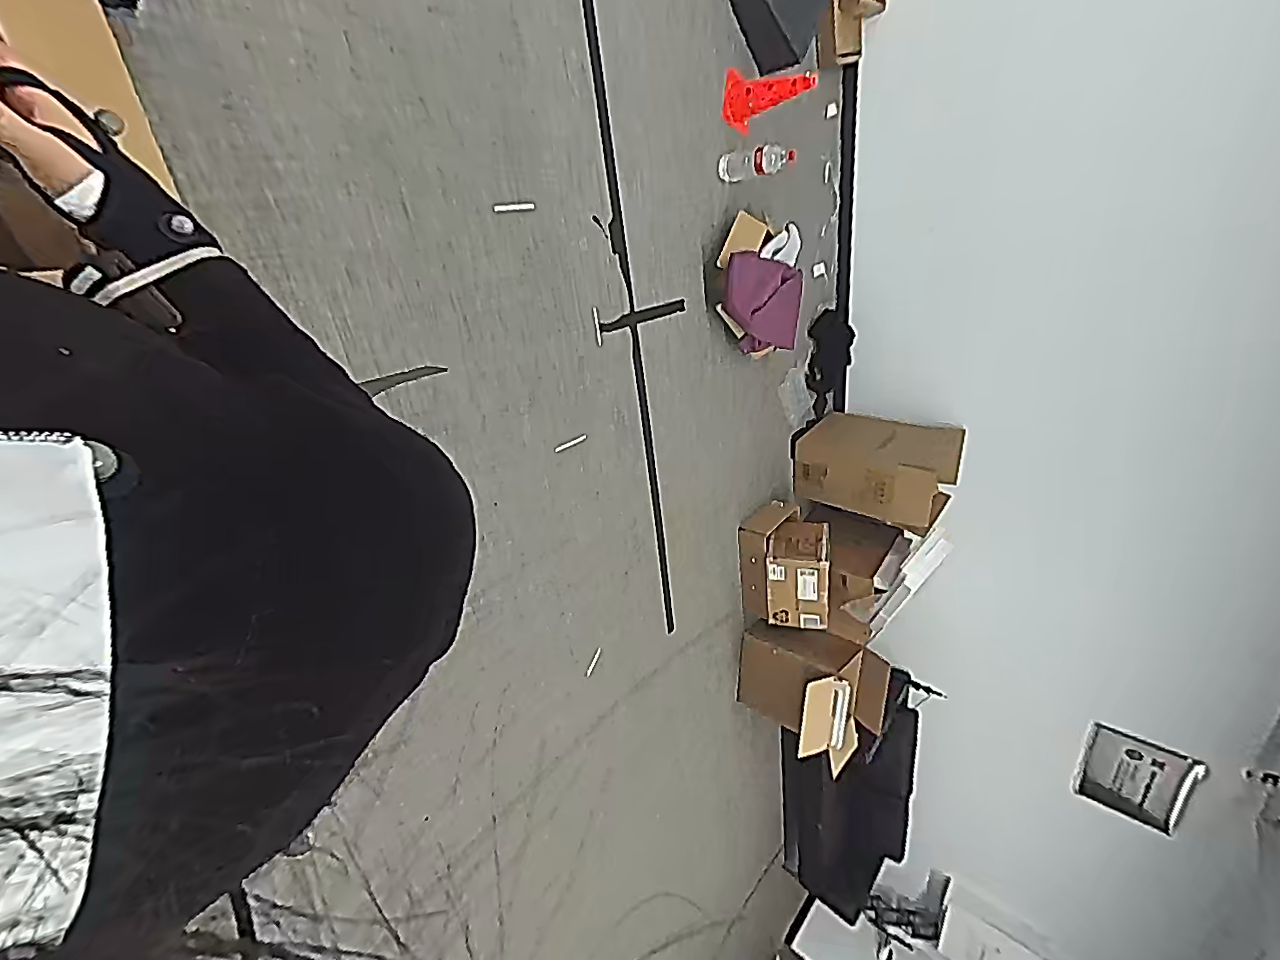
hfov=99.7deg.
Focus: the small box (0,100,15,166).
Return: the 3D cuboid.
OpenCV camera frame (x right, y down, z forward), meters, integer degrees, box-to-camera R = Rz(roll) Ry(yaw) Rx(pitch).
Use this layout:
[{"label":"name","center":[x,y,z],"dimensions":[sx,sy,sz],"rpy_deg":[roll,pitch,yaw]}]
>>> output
[{"label":"small box","center":[-0.489,-0.267,0.284],"dimensions":[0.179,0.176,0.168],"rpy_deg":[-21,119,-42]}]
